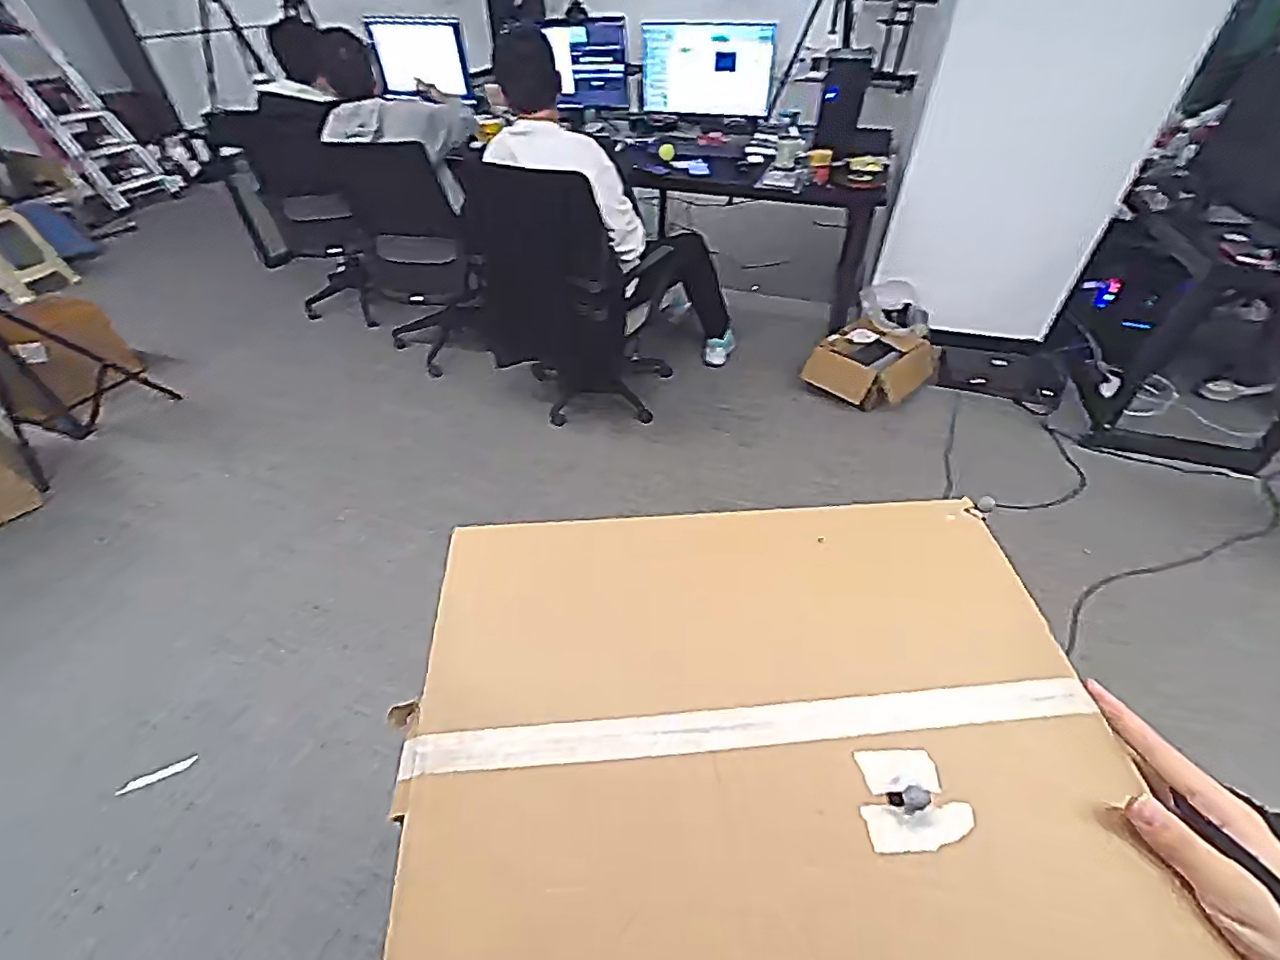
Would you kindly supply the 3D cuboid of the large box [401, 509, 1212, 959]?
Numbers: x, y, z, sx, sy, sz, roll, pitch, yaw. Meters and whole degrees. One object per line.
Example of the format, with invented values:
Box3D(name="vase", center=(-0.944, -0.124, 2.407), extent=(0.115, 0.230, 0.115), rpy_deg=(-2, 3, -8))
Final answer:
Box3D(name="large box", center=(0.066, 0.249, 0.443), extent=(0.408, 0.320, 0.320), rpy_deg=(-3, 51, -5))
